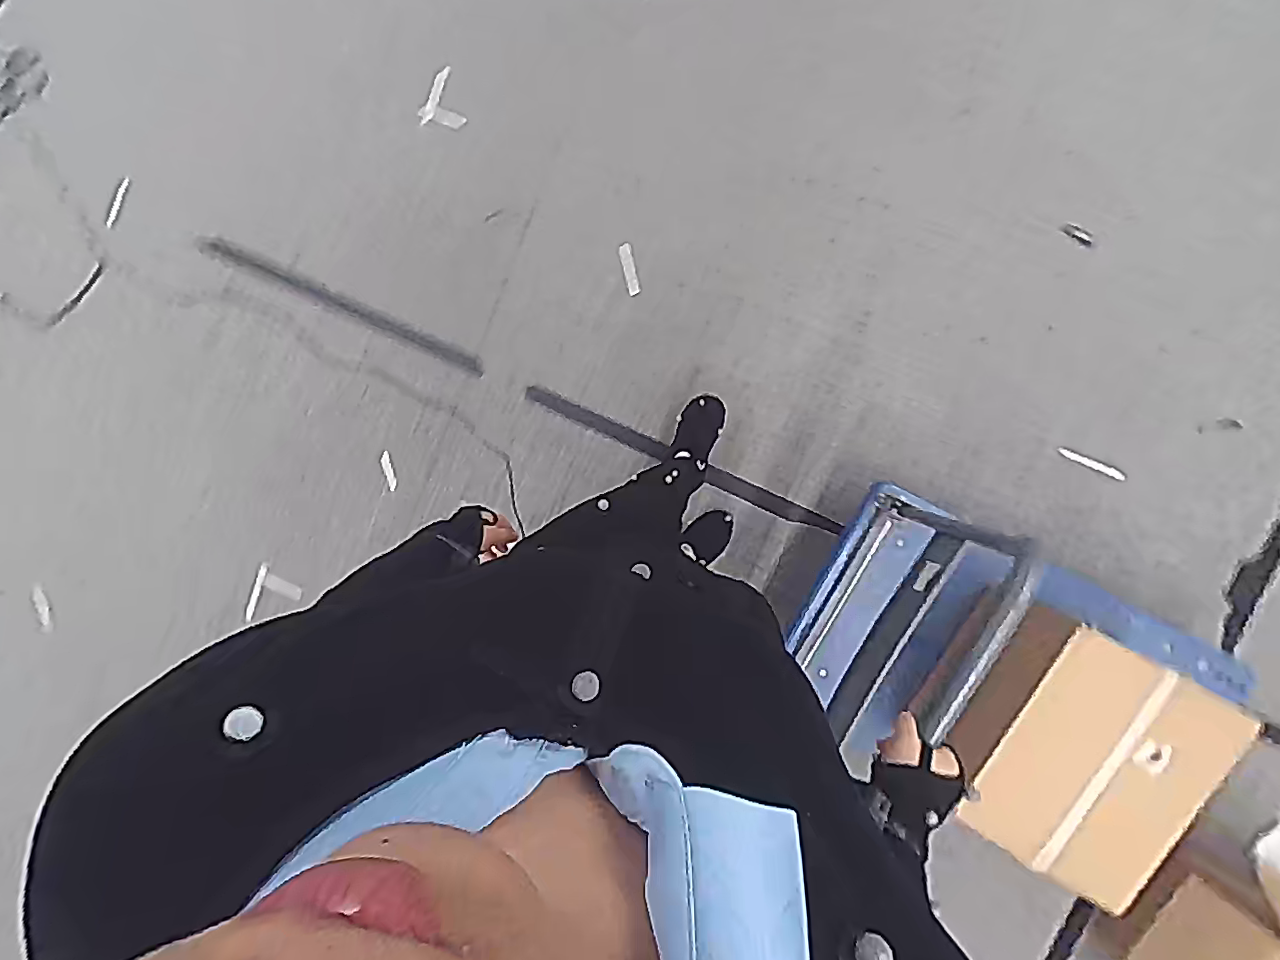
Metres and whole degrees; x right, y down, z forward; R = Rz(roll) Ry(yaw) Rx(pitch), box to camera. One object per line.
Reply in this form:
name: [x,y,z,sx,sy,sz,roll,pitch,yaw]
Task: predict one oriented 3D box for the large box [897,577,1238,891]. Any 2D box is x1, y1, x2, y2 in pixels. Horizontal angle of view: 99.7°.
large box: [0.794,0.464,1.080,0.320,0.320,0.408,30,95,5]
